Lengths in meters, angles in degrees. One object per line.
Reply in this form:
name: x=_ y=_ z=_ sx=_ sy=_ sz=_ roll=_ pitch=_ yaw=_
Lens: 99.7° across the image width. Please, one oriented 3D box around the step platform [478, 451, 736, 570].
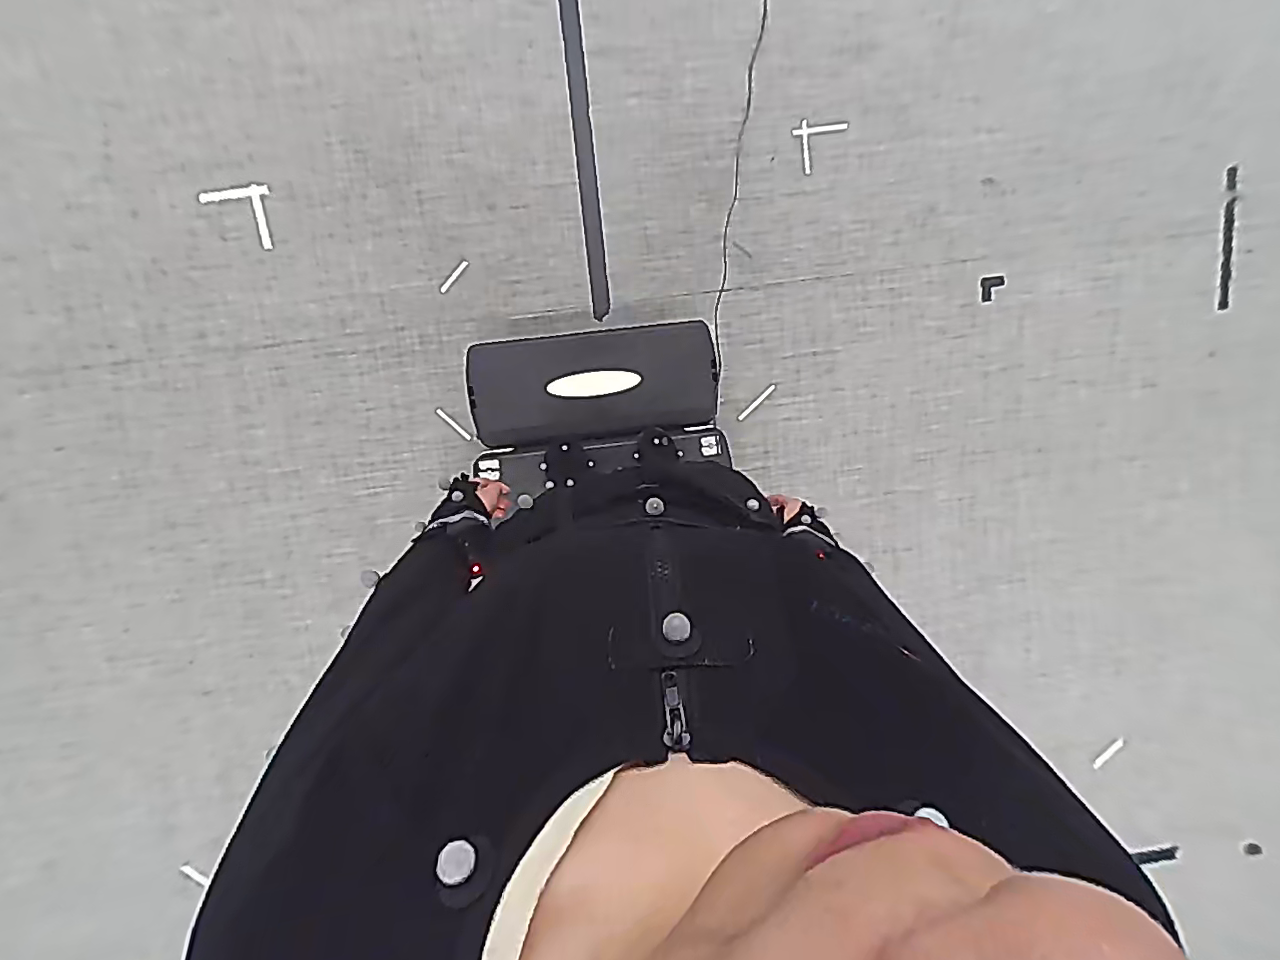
step platform: x=-0.085 y=0.078 z=1.467 sx=0.684 sy=0.204 sz=0.286 roll=-2 pitch=96 yaw=-2
